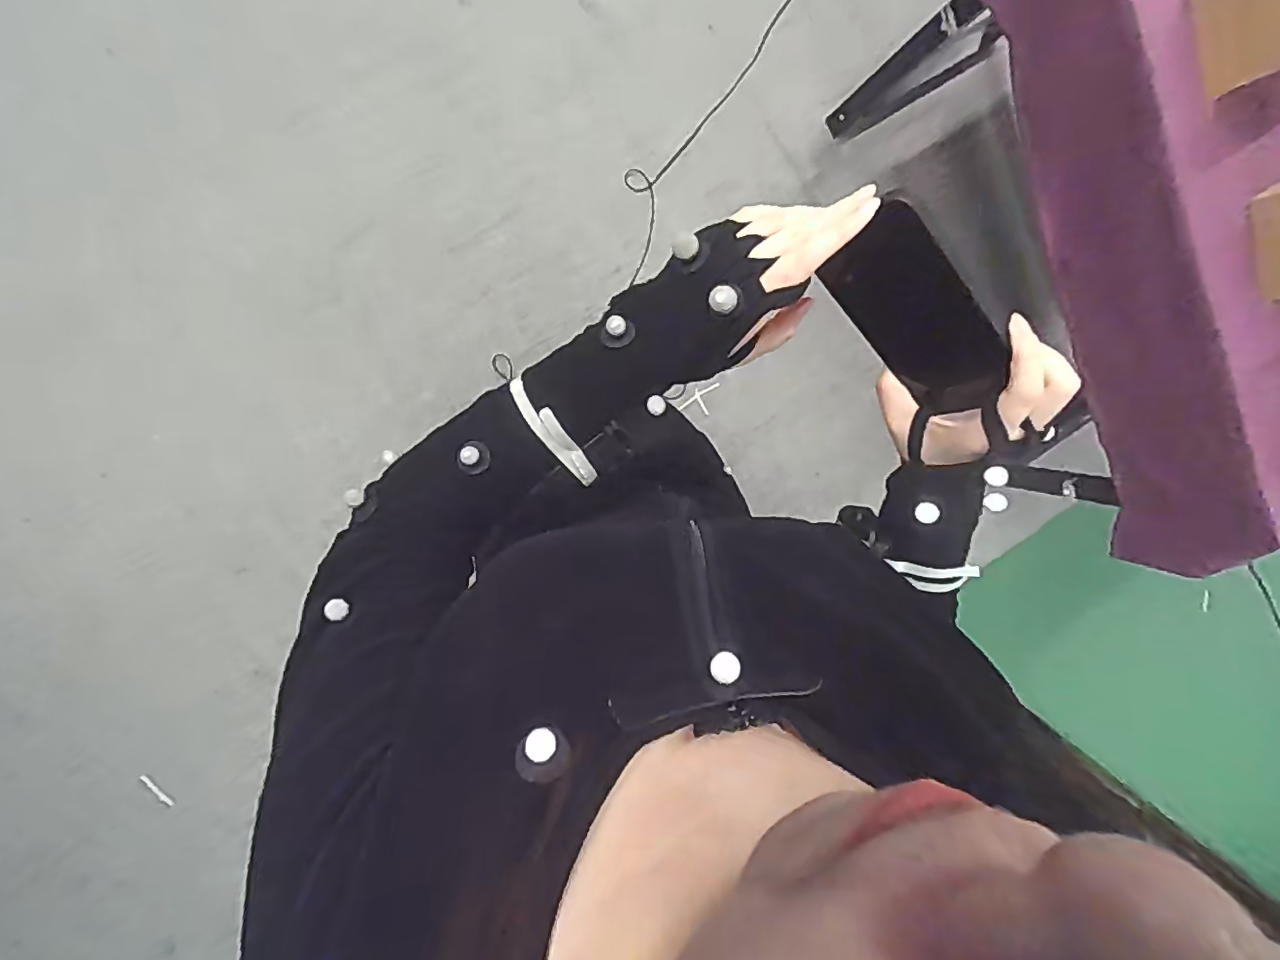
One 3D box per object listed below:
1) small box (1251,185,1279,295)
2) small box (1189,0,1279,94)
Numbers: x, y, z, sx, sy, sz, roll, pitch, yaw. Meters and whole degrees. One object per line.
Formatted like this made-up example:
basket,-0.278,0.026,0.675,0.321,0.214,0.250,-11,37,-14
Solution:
small box,1.122,-0.413,0.843,0.168,0.176,0.179,-29,104,-6
small box,0.934,-0.699,0.759,0.168,0.176,0.179,-31,105,-6
